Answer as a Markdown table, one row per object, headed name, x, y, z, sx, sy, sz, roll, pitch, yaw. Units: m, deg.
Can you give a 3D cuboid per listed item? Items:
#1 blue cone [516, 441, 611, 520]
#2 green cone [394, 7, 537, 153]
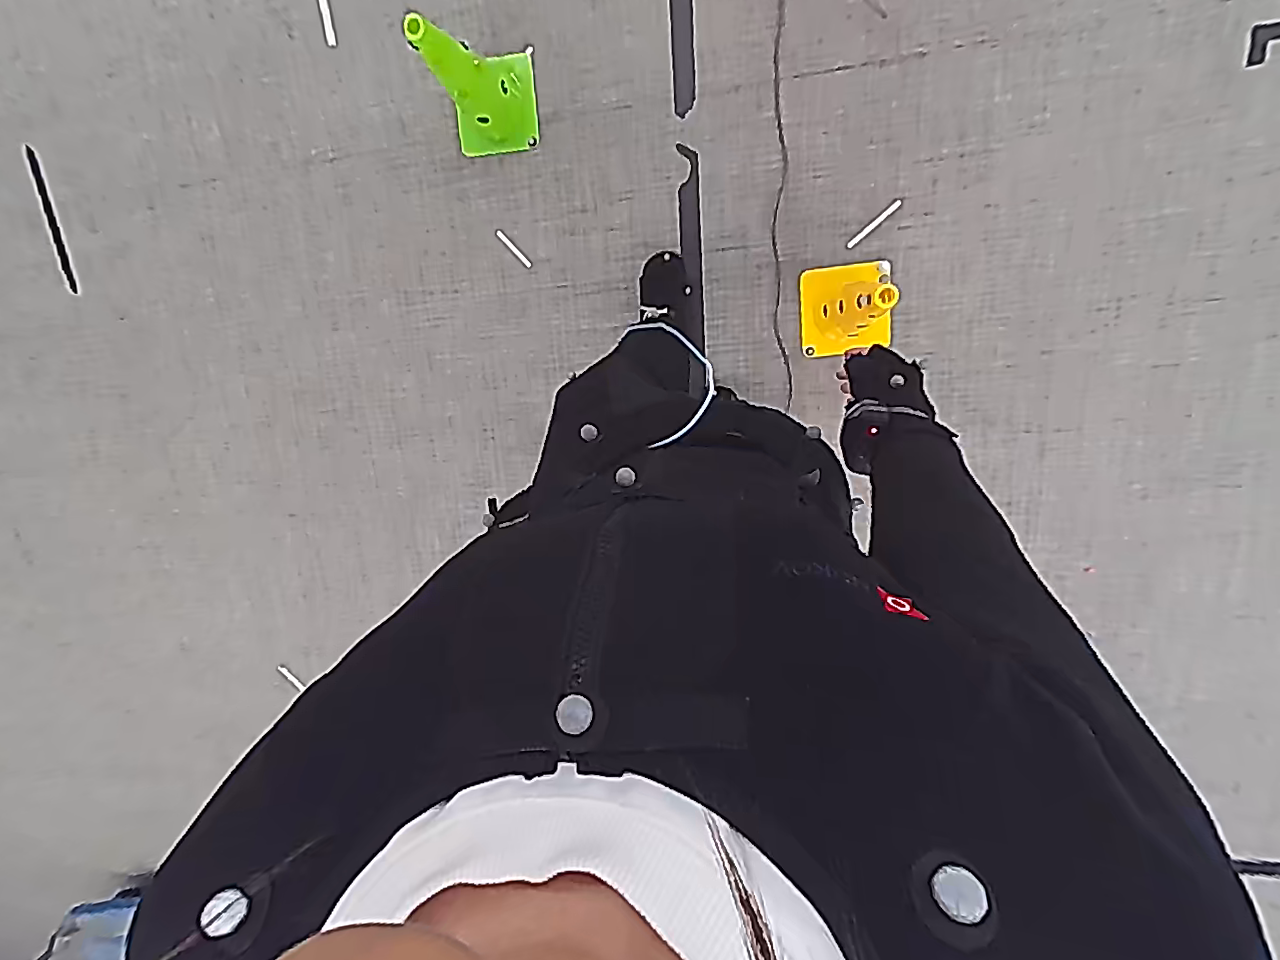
| name | x | y | z | sx | sy | sz | roll | pitch | yaw |
| --- | --- | --- | --- | --- | --- | --- | --- | --- | --- |
| blue cone | -0.202 | 0.026 | 1.319 | 0.192 | 0.380 | 0.193 | 2 | 104 | 10 |
| green cone | -0.376 | -0.854 | 1.115 | 0.202 | 0.368 | 0.200 | -1 | 104 | 11 |
